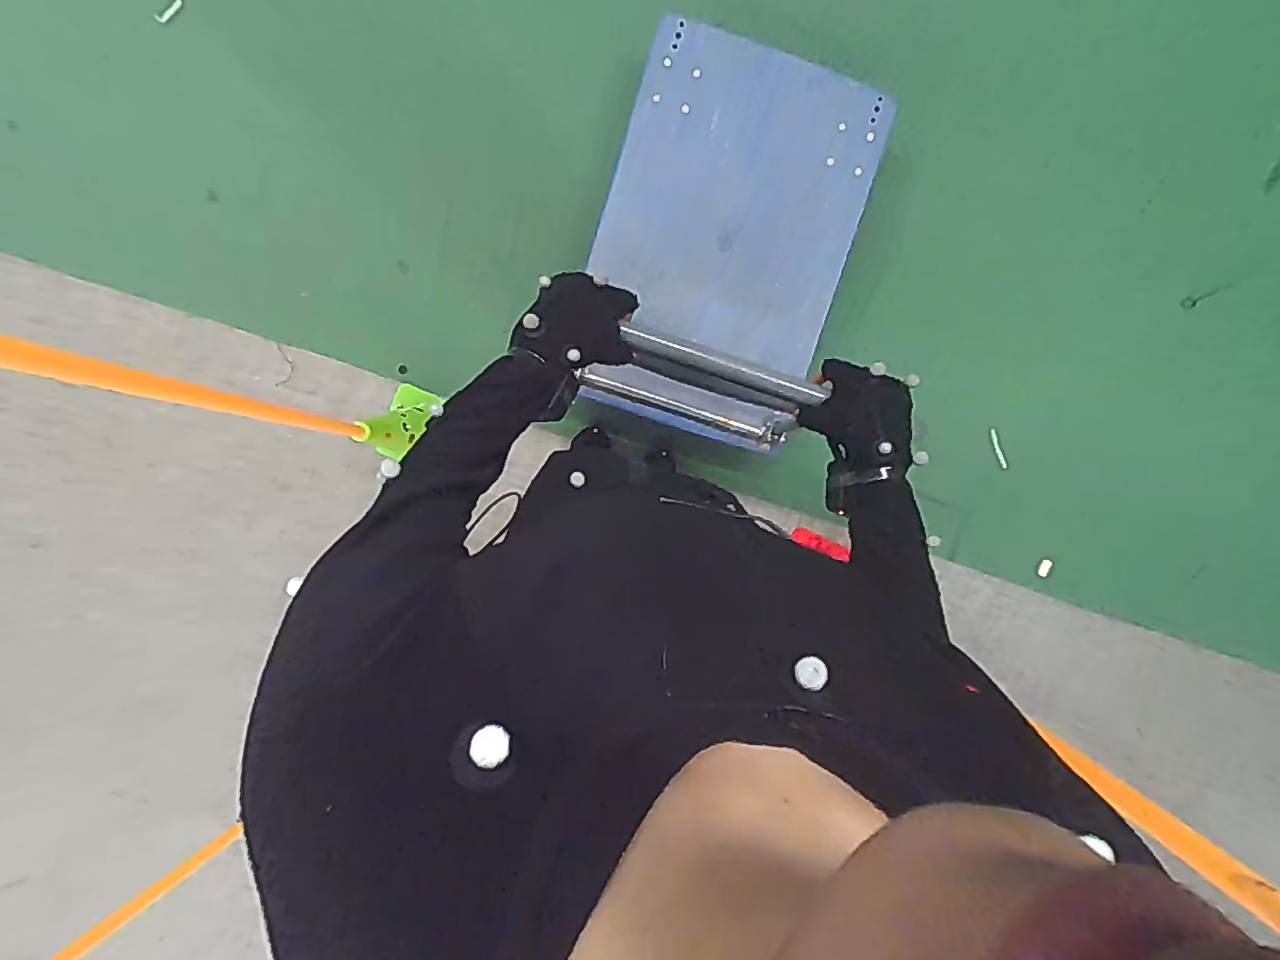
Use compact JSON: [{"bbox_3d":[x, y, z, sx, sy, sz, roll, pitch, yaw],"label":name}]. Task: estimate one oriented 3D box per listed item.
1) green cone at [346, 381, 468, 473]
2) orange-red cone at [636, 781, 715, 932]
[{"bbox_3d":[-0.574,-0.127,1.267,0.202,0.368,0.200,23,93,-3],"label":"green cone"},{"bbox_3d":[0.107,0.996,1.399,0.199,0.360,0.198,18,94,-2],"label":"orange-red cone"}]
